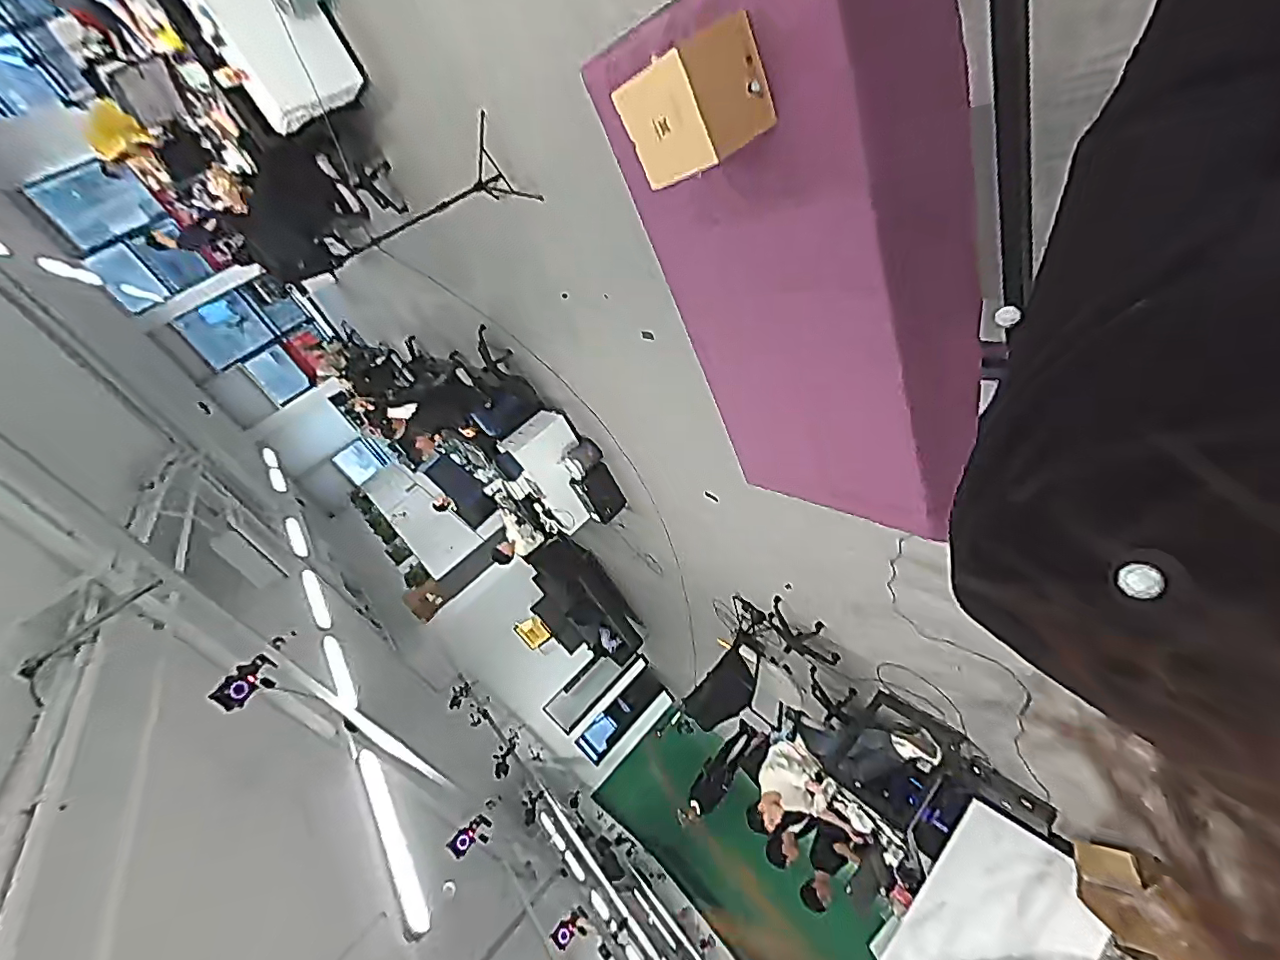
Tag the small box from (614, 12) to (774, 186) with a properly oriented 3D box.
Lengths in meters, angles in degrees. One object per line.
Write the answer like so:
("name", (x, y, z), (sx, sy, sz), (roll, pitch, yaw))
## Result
("small box", (0.093, -0.638, 0.918), (0.179, 0.176, 0.168), (19, 146, 53))
